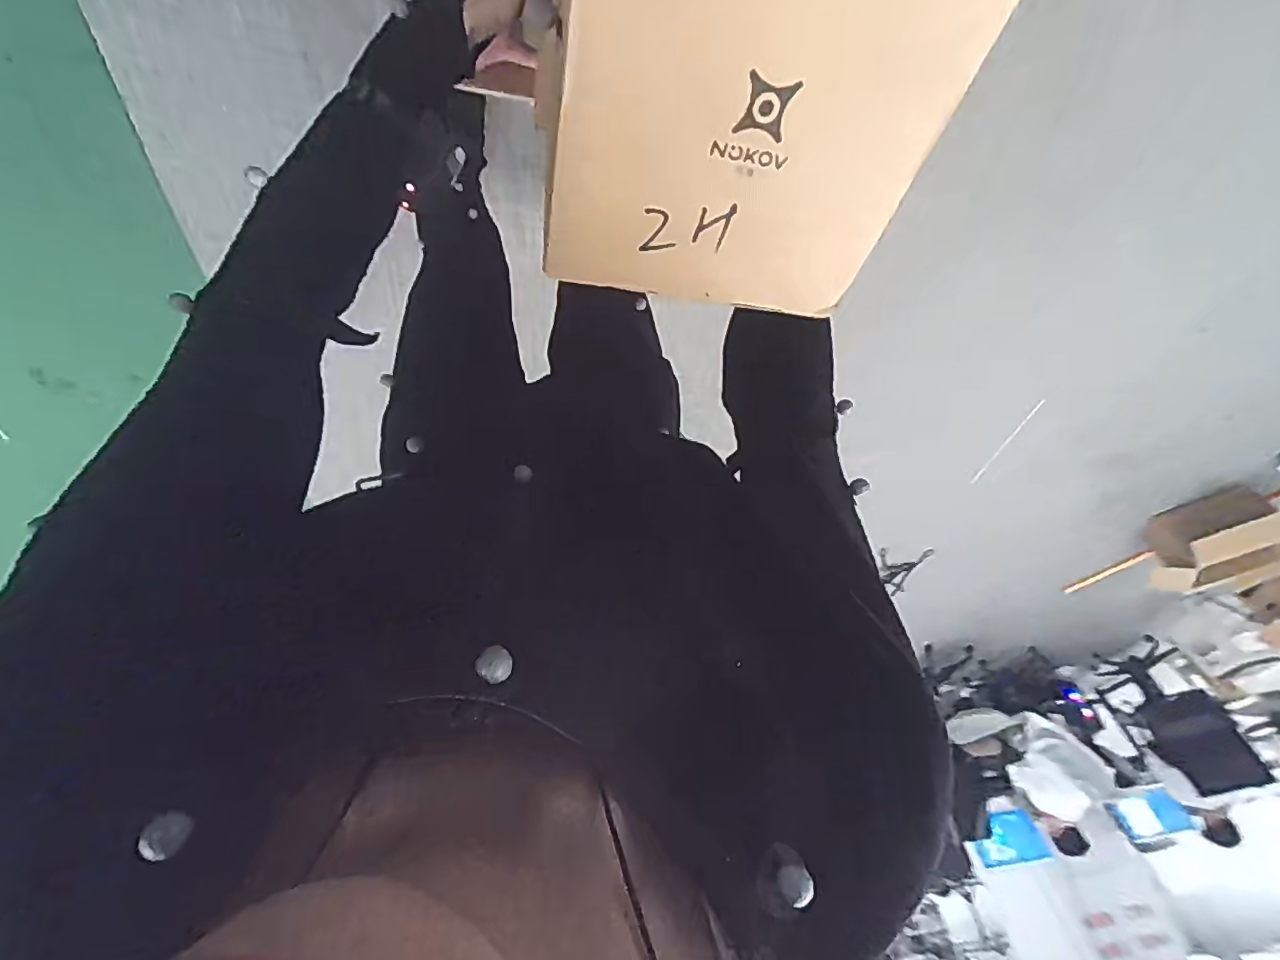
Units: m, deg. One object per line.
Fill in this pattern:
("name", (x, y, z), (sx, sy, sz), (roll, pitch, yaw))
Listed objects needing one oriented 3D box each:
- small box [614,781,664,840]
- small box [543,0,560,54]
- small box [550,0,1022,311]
("small box", (-0.011, 1.335, 2.189), (0.168, 0.176, 0.179), (1, 137, -13))
("small box", (0.008, -0.482, 0.467), (0.168, 0.176, 0.179), (3, 143, -14))
("small box", (0.044, -0.217, 0.273), (0.168, 0.176, 0.179), (4, 143, -13))
